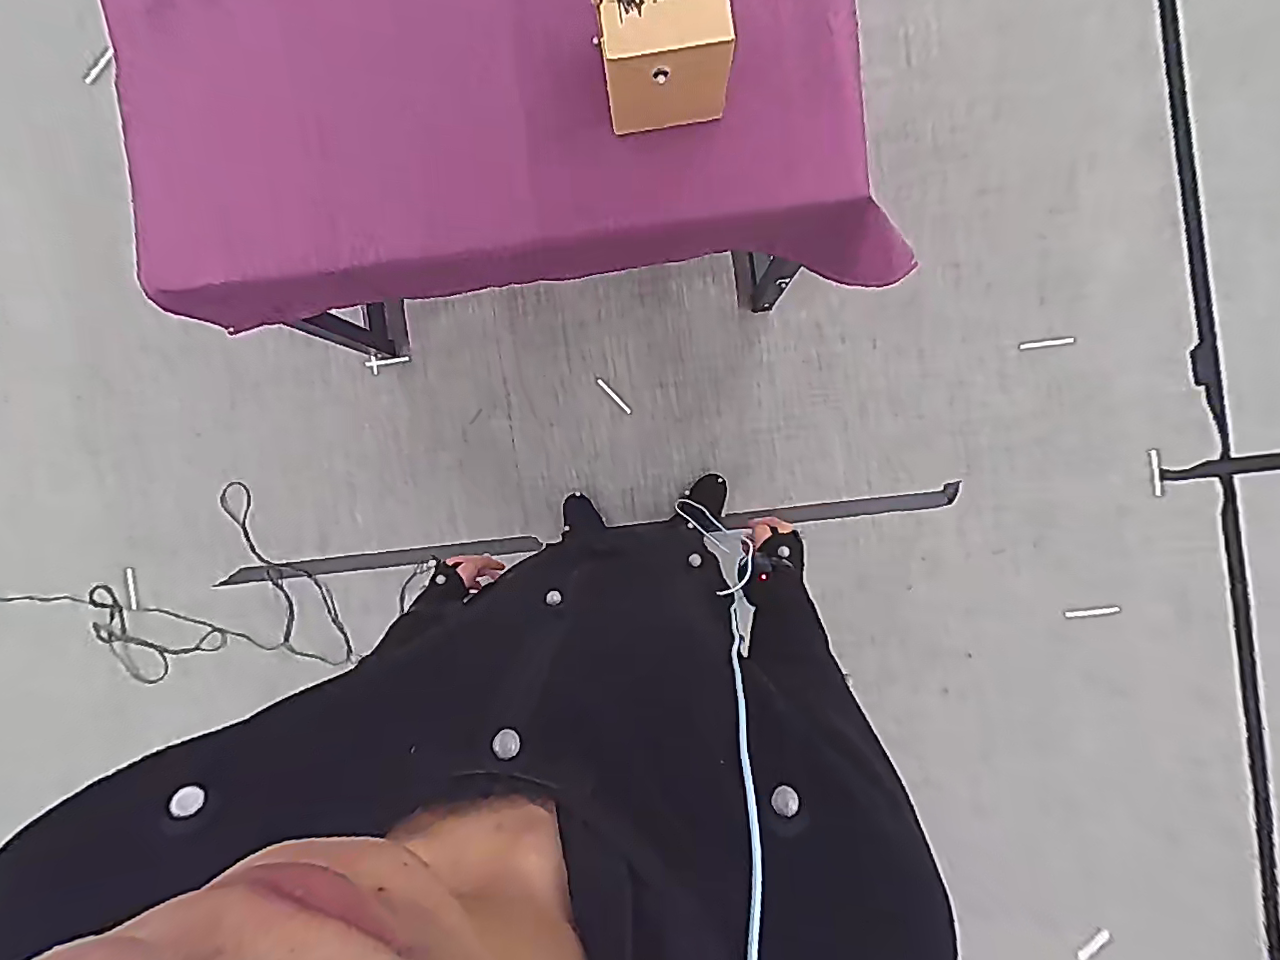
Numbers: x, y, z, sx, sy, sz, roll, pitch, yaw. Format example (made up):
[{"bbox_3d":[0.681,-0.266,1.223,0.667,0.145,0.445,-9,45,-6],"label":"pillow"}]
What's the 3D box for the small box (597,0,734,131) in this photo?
[{"bbox_3d":[0.032,-0.648,0.793,0.179,0.176,0.168,-8,92,2],"label":"small box"}]
